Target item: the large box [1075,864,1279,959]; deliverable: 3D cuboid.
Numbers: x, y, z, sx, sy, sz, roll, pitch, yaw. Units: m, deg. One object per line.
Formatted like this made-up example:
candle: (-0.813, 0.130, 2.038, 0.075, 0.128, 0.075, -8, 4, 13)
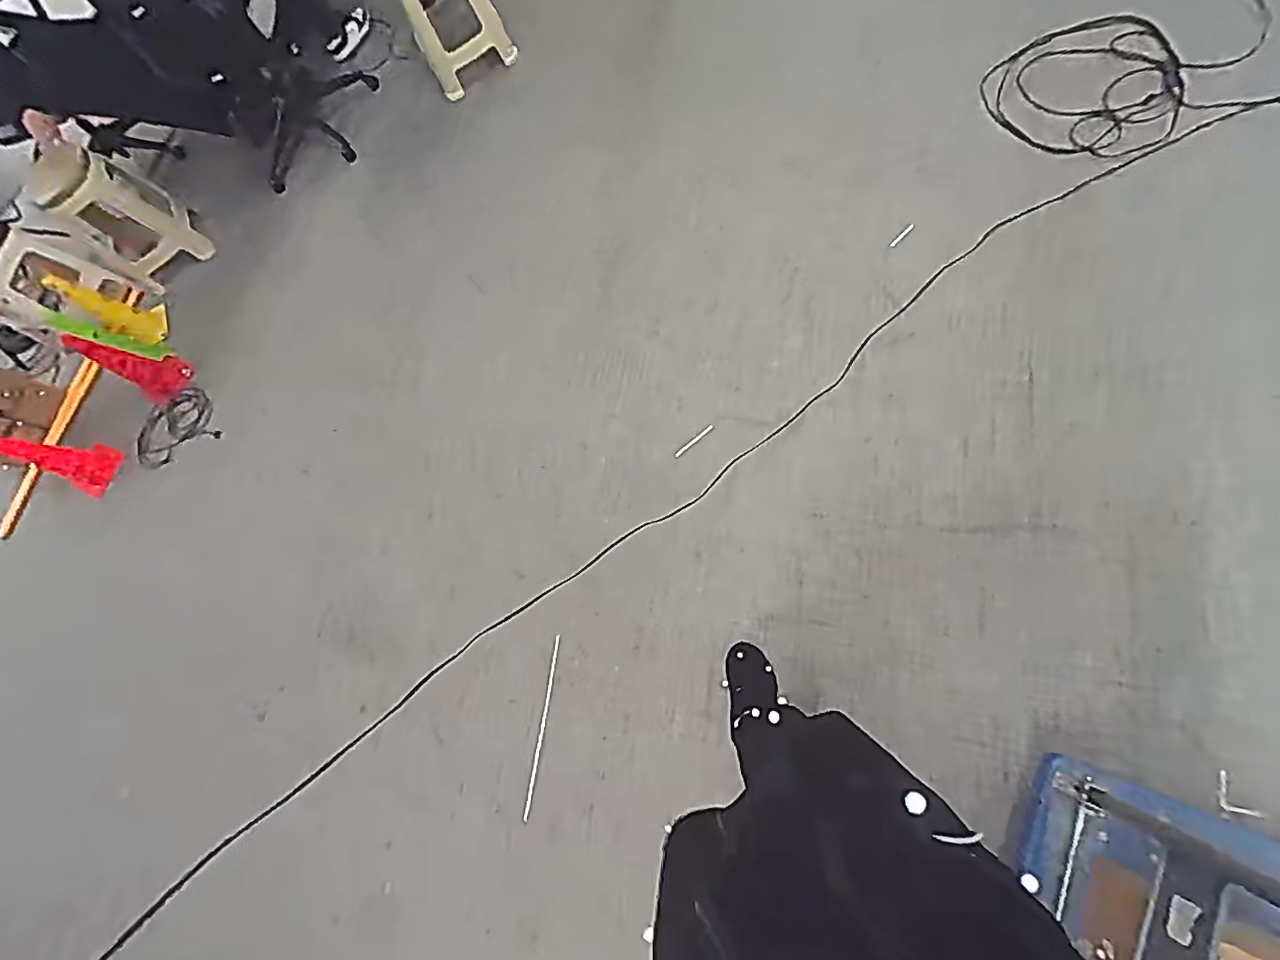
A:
large box: (0.934, 0.862, 0.783, 0.408, 0.320, 0.320, 19, 80, 19)
